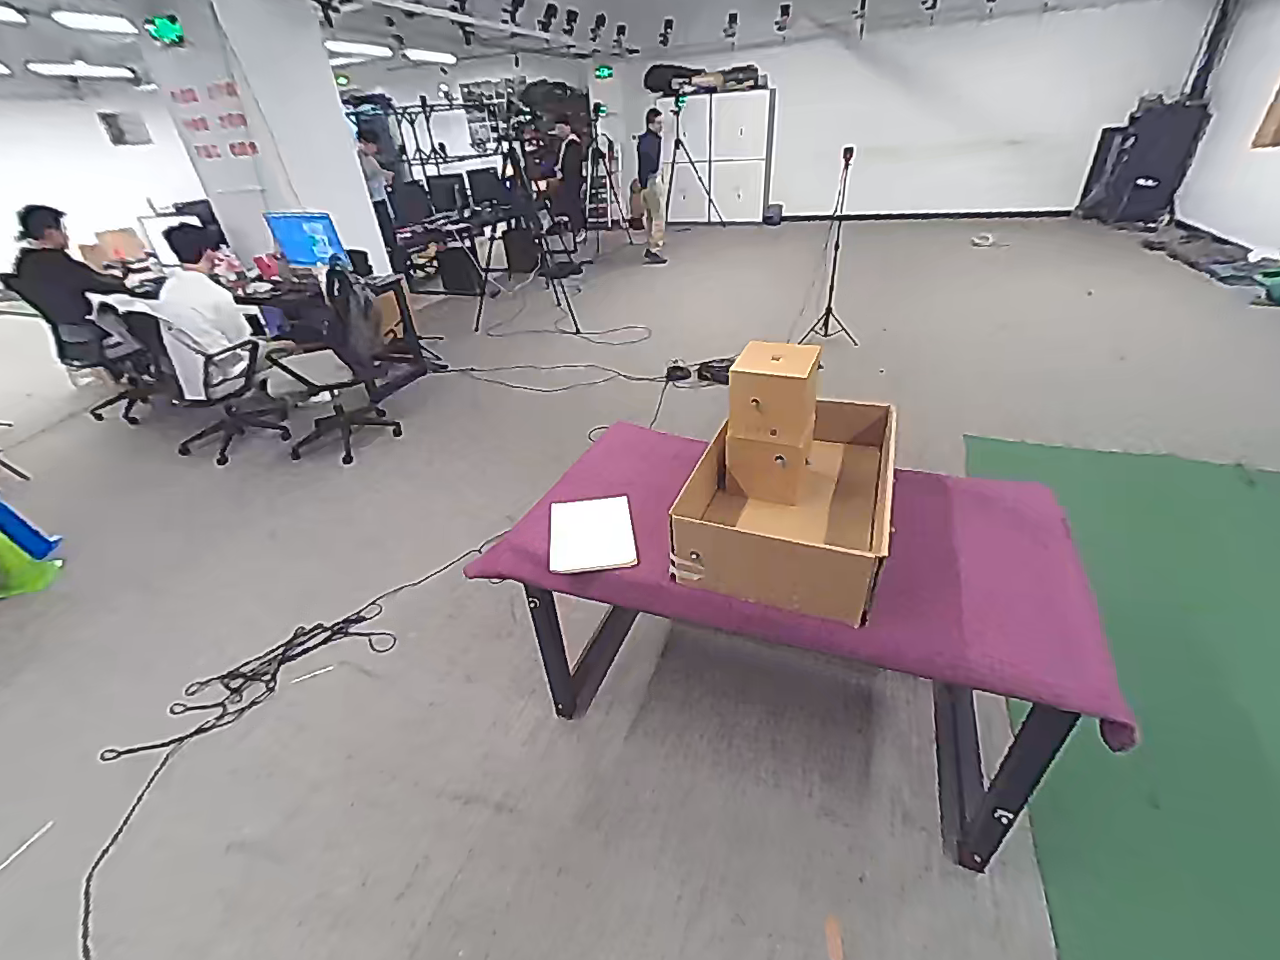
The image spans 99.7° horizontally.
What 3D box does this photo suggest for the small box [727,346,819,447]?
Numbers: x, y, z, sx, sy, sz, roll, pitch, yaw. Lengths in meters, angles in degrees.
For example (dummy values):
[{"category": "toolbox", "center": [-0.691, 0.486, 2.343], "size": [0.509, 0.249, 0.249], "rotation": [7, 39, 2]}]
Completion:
[{"category": "small box", "center": [0.304, -0.191, 1.232], "size": [0.168, 0.176, 0.179], "rotation": [10, 37, 23]}]
